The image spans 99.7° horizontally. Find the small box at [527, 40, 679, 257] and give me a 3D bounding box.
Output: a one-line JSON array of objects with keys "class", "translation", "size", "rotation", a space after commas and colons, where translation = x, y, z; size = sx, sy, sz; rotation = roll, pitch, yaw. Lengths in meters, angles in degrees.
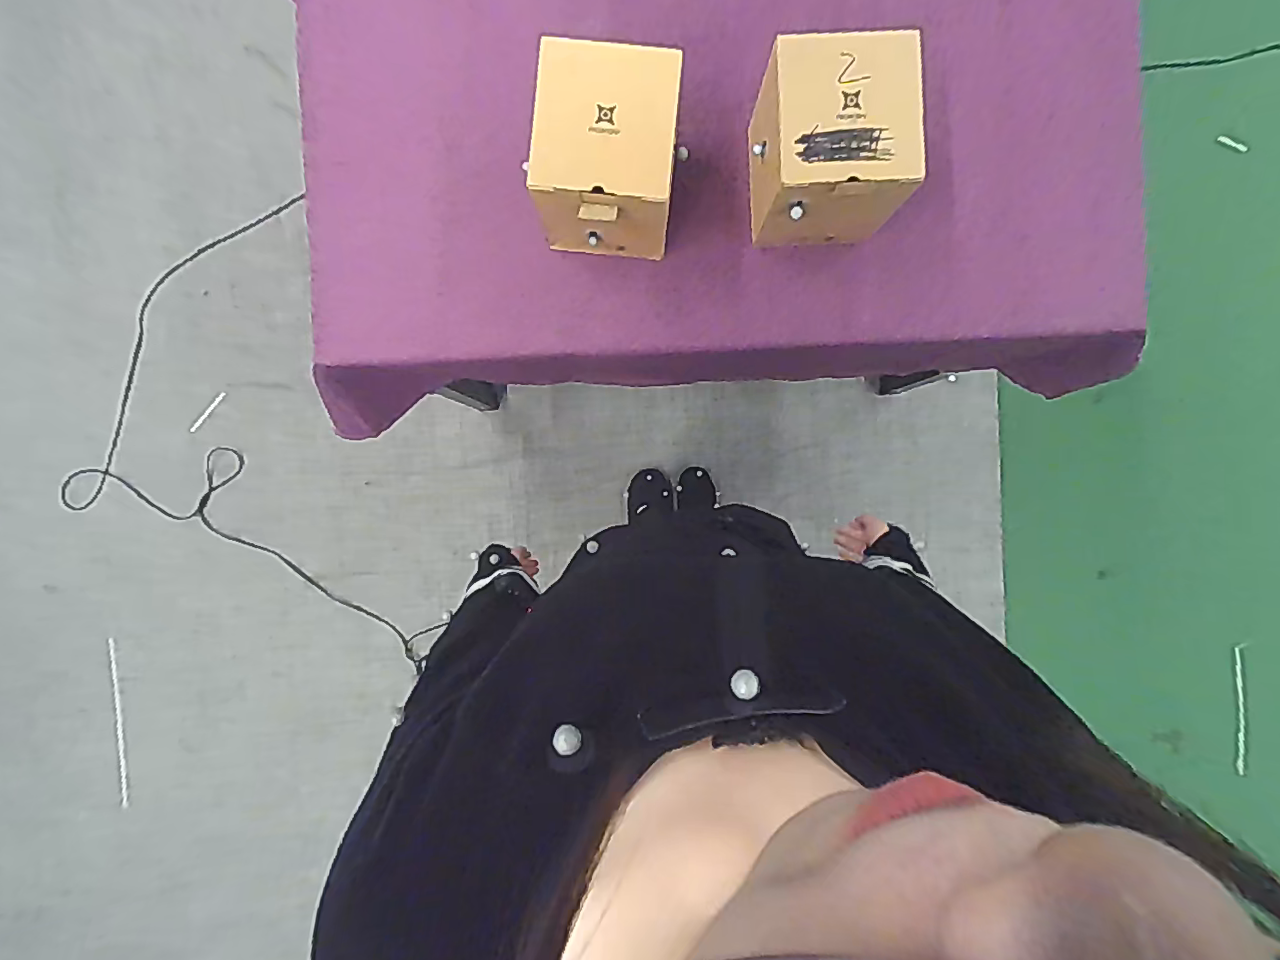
[{"class": "small box", "translation": [-0.045, -0.421, 0.713], "size": [0.168, 0.176, 0.179], "rotation": [6, 92, 0]}]
